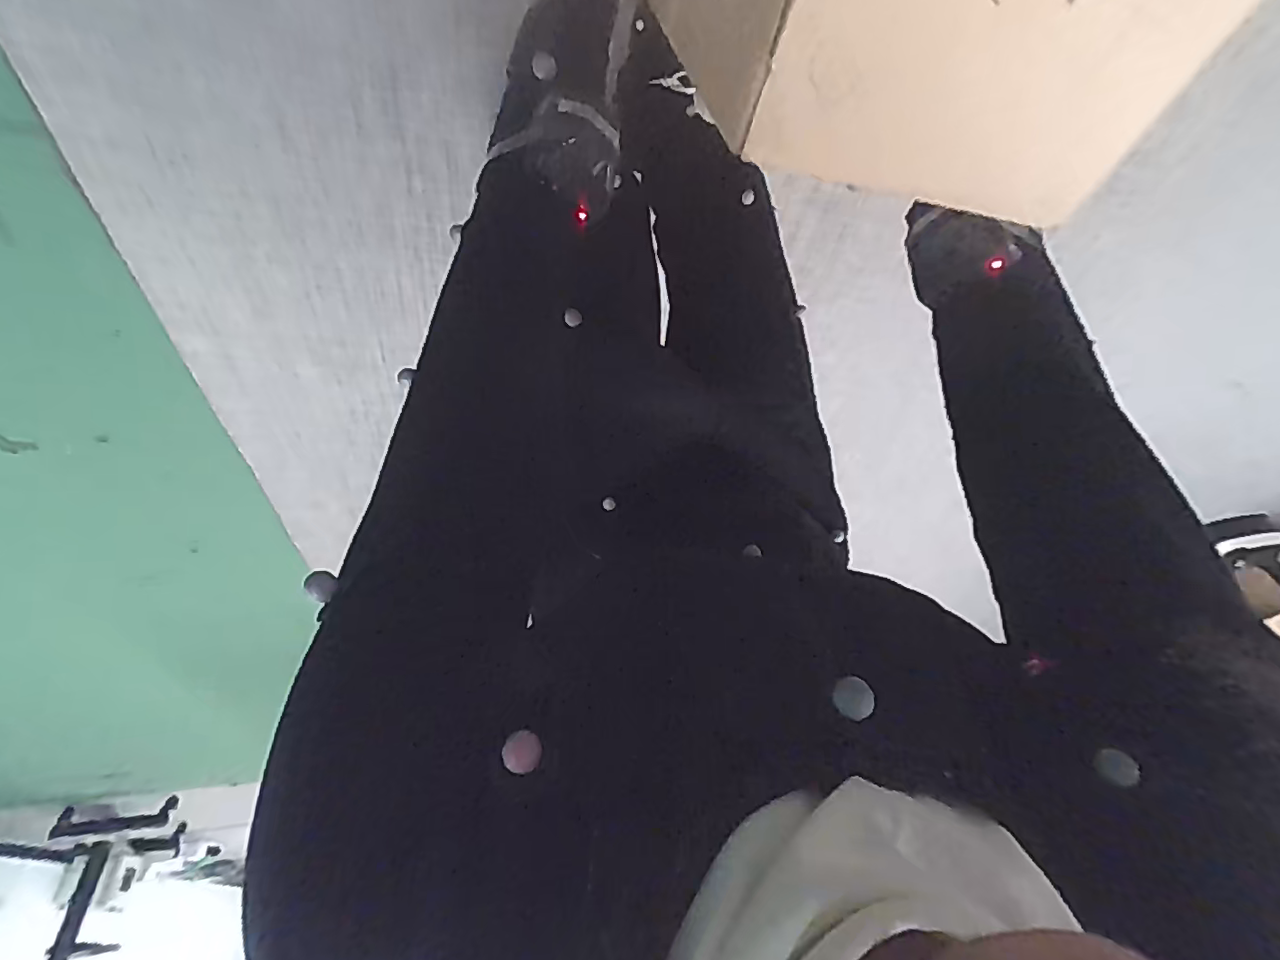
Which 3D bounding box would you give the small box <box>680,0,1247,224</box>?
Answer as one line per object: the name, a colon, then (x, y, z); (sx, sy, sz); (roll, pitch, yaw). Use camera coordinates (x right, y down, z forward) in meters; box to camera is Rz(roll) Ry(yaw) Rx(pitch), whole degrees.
small box: (0.126, -0.239, 0.226); (0.179, 0.176, 0.168); (2, 143, -14)
